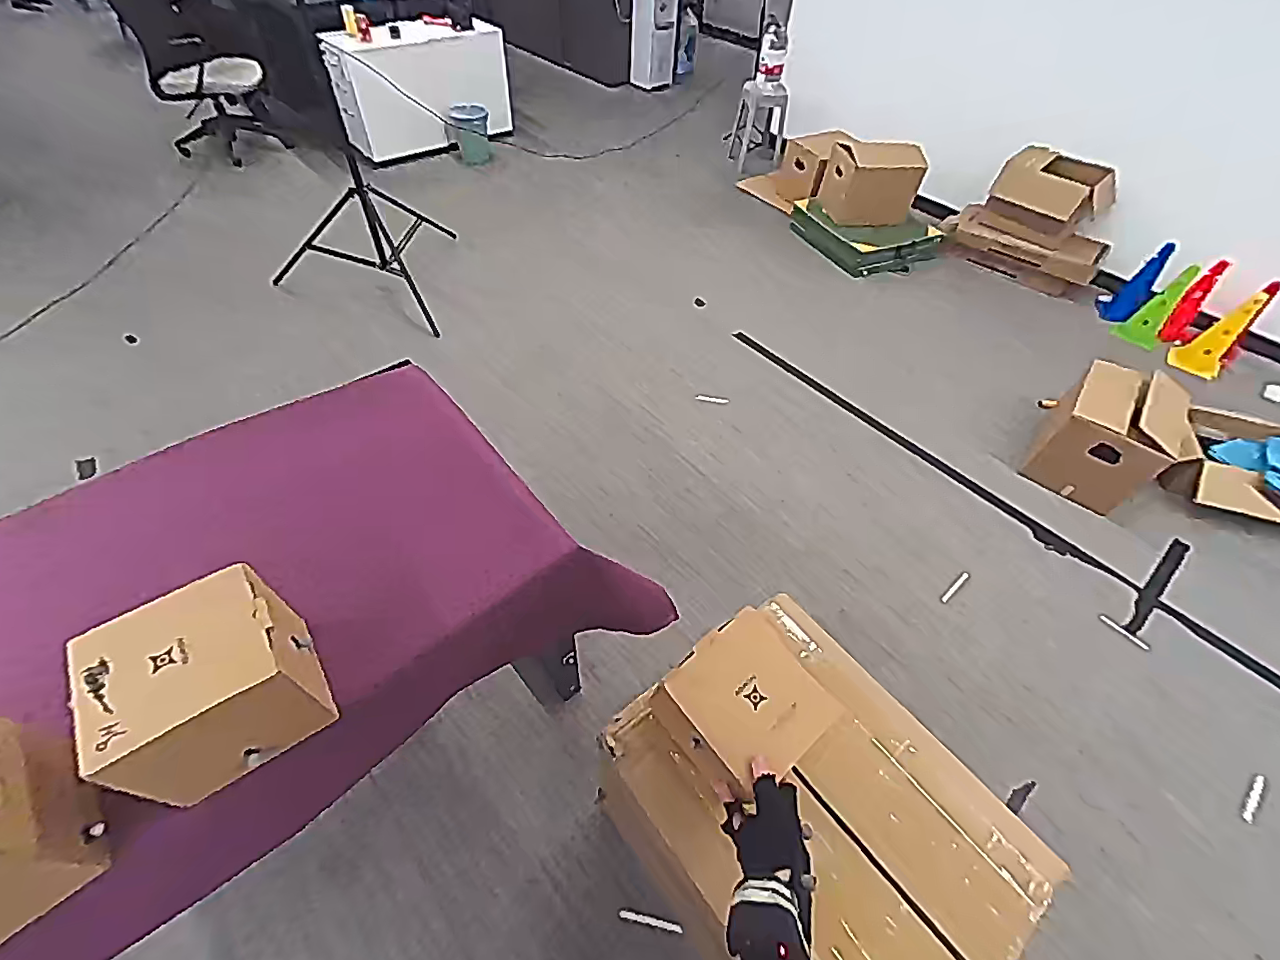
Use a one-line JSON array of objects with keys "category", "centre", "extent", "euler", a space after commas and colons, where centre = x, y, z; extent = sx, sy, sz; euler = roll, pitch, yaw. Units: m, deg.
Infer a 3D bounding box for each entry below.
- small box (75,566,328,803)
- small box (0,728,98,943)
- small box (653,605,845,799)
[{"category": "small box", "centre": [-0.498, 0.241, 0.639], "extent": [0.179, 0.176, 0.168], "euler": [-28, 56, -25]}, {"category": "small box", "centre": [-0.684, 0.362, 0.523], "extent": [0.179, 0.176, 0.168], "euler": [-34, 59, -26]}, {"category": "small box", "centre": [0.135, 0.311, 0.747], "extent": [0.168, 0.176, 0.179], "euler": [-35, 69, -23]}]
